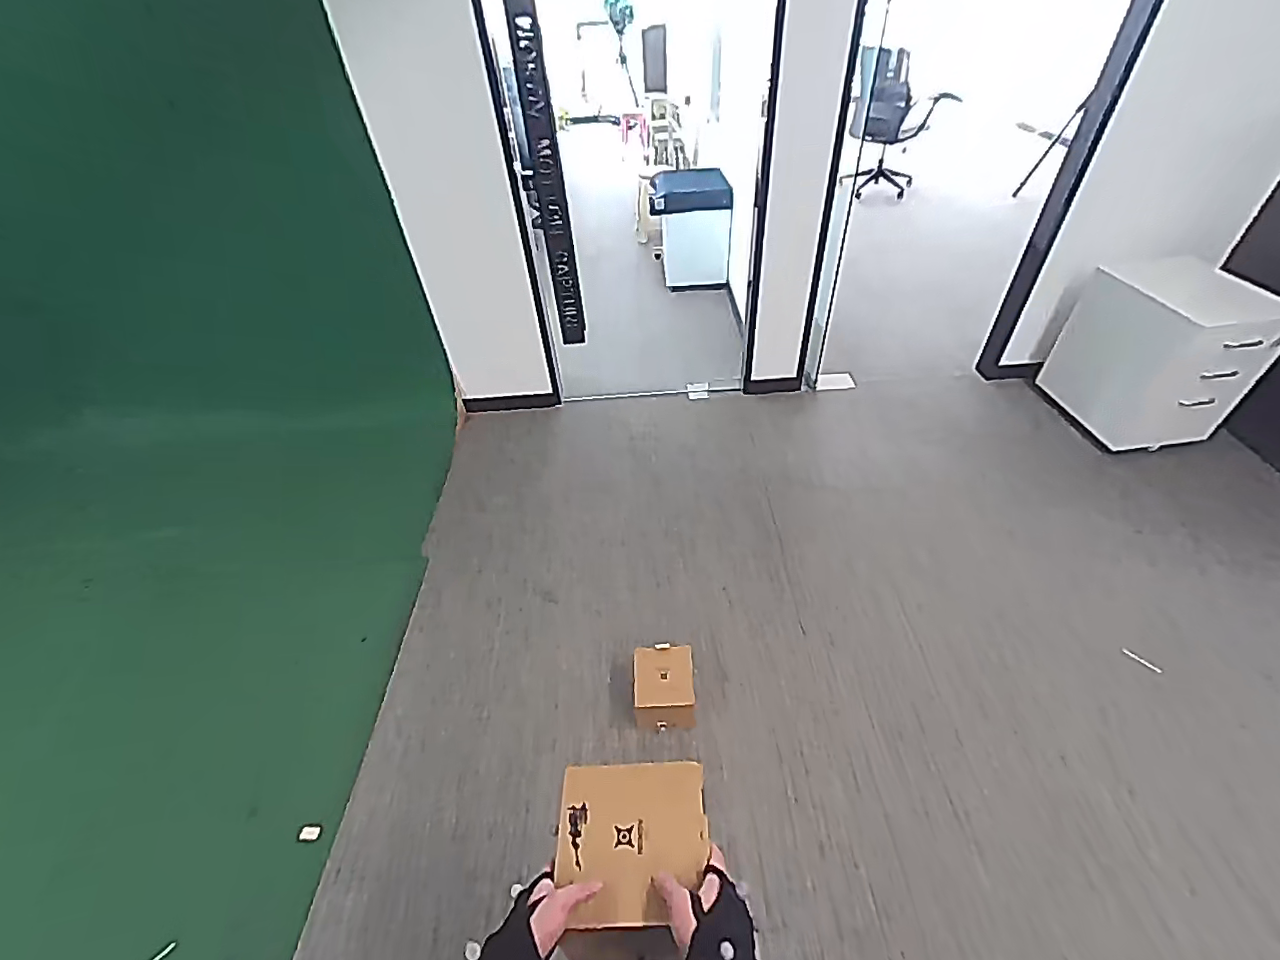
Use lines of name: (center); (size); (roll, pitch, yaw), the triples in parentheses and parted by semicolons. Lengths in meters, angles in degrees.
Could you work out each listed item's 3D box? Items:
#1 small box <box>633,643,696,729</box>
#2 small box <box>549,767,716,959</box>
small box: (0.073, 0.586, 1.540); (0.168, 0.176, 0.179); (-3, 44, 5)
small box: (-0.005, 0.480, 0.672); (0.179, 0.176, 0.168); (-2, 37, 1)
